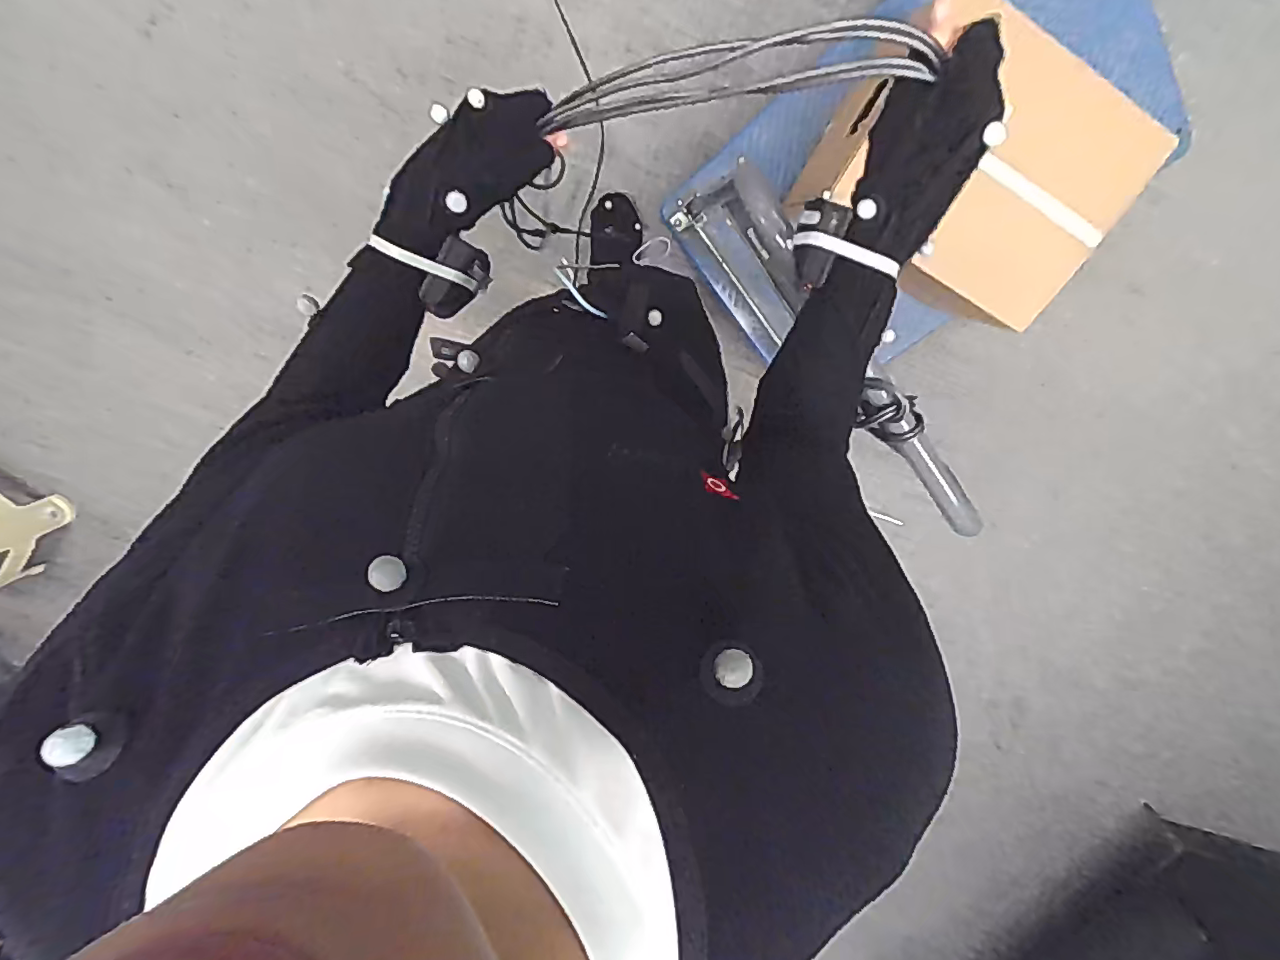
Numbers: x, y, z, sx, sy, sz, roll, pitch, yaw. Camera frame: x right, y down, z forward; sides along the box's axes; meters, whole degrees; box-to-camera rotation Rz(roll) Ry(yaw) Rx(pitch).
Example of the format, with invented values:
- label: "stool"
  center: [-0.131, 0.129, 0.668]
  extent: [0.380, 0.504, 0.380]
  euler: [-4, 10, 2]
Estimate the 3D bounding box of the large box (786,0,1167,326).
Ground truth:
- label: "large box"
  center: [0.533, -0.522, 0.946]
  extent: [0.408, 0.320, 0.320]
  euler: [27, 112, -10]
